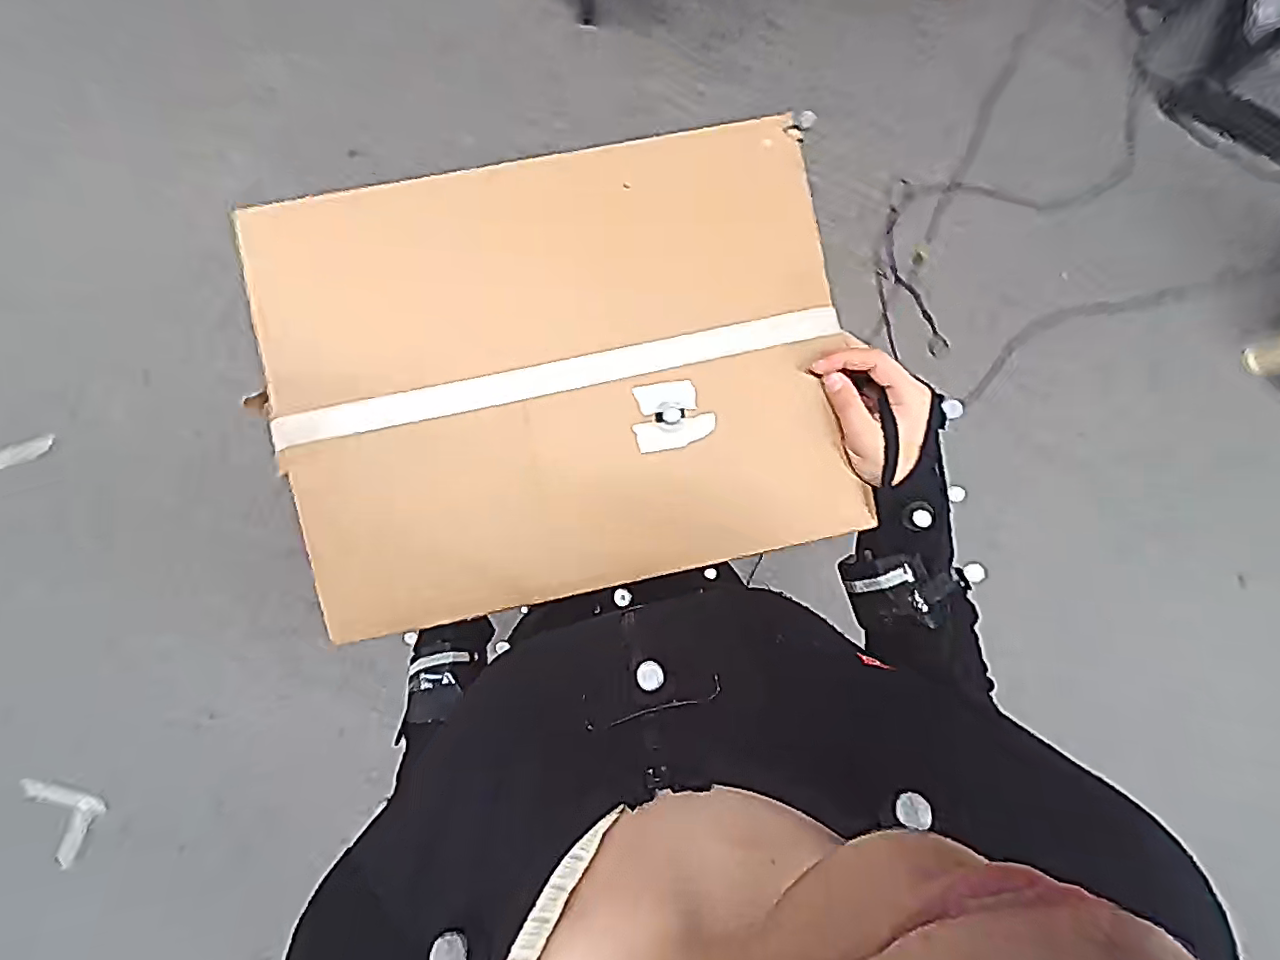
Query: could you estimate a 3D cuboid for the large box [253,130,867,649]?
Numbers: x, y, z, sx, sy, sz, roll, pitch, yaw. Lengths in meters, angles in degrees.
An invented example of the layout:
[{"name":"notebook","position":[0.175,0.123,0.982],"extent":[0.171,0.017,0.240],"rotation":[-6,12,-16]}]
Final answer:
[{"name":"large box","position":[-0.063,-0.071,0.547],"extent":[0.408,0.320,0.320],"rotation":[-13,92,-4]}]
